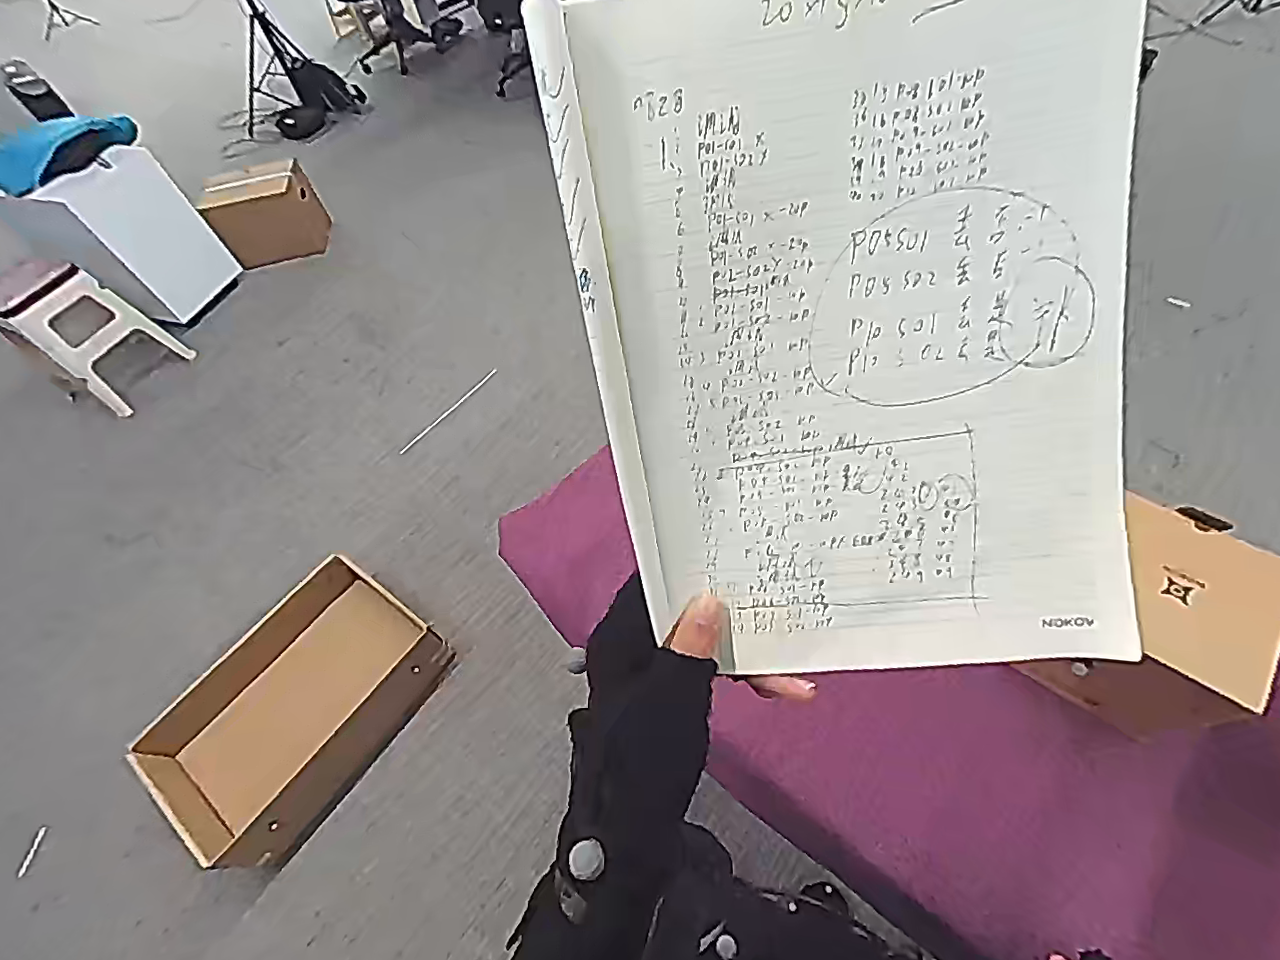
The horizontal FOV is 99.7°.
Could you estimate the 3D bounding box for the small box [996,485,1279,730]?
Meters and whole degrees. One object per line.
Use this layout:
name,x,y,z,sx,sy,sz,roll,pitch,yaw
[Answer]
small box,0.535,0.146,0.601,0.168,0.176,0.179,32,65,25
